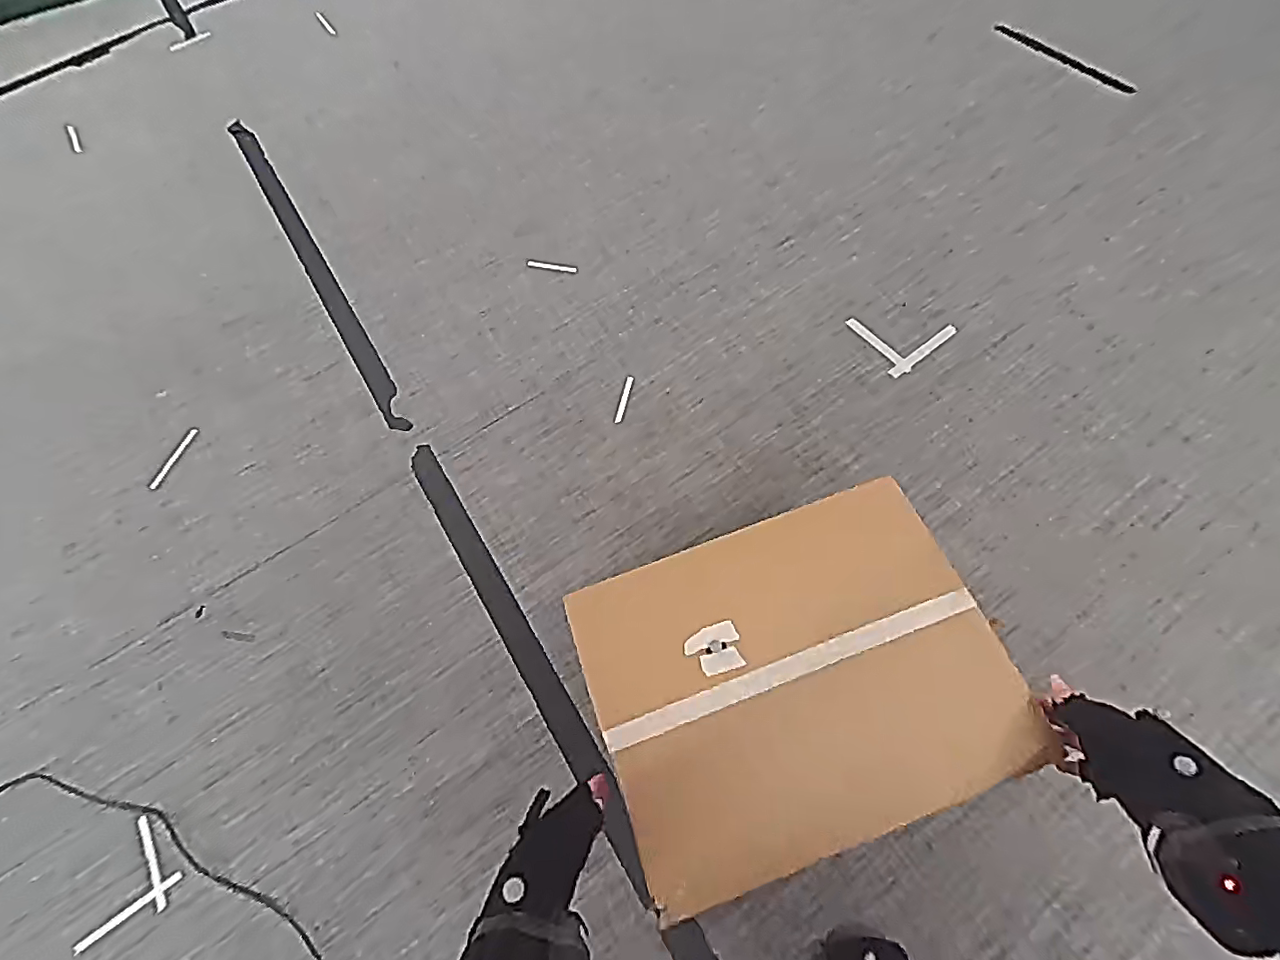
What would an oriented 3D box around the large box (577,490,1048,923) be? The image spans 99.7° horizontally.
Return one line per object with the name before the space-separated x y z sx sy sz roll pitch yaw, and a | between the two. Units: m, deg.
large box | 0.178 0.269 0.706 0.408 0.320 0.320 -21 64 -3
